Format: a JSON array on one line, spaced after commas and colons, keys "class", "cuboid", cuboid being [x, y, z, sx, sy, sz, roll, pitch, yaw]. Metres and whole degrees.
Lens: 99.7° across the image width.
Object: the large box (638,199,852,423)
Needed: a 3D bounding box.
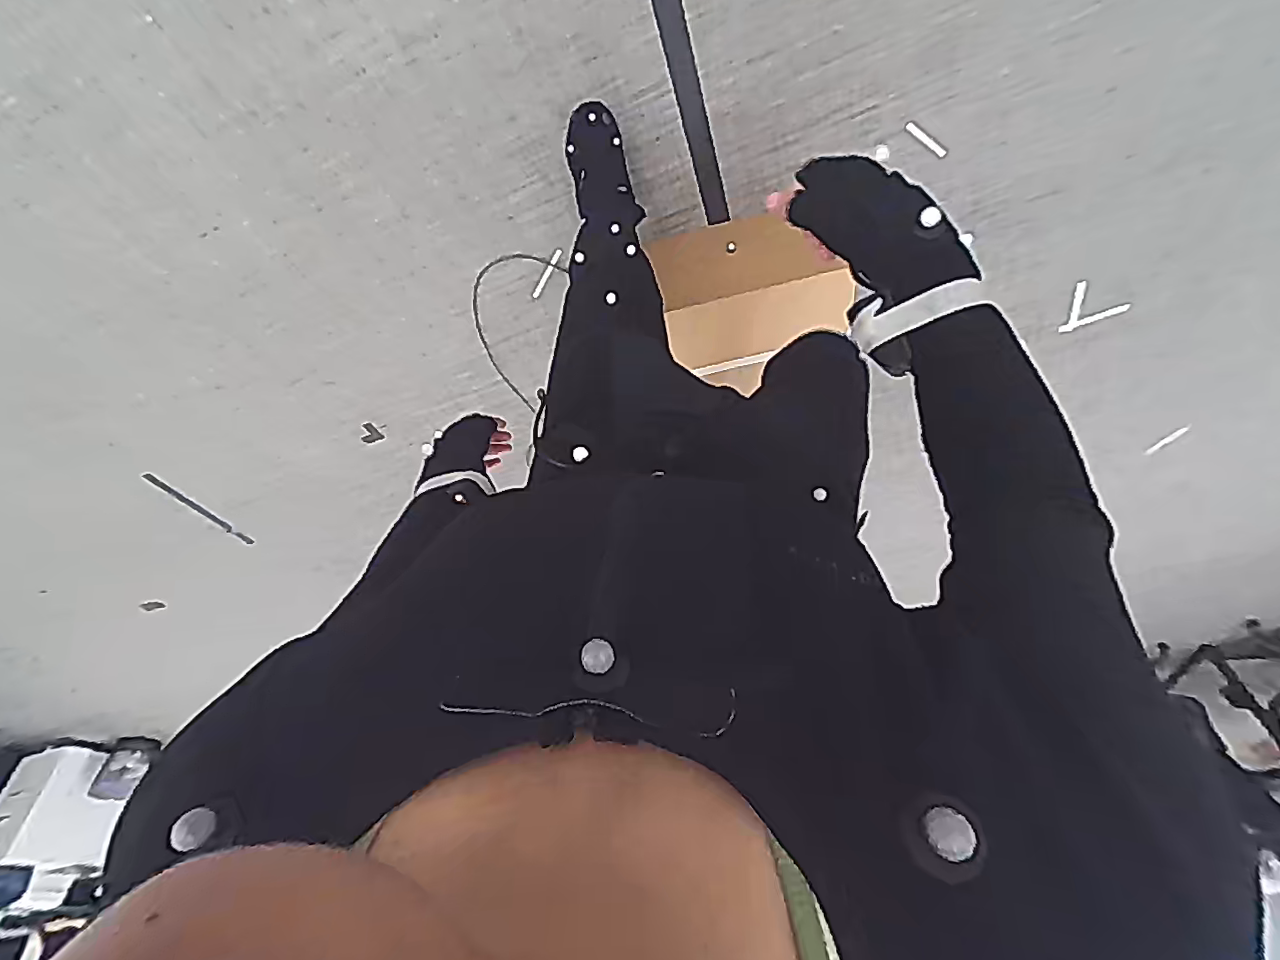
[{"class": "large box", "cuboid": [0.231, -0.384, 1.246, 0.408, 0.320, 0.320, -12, 139, 6]}]
